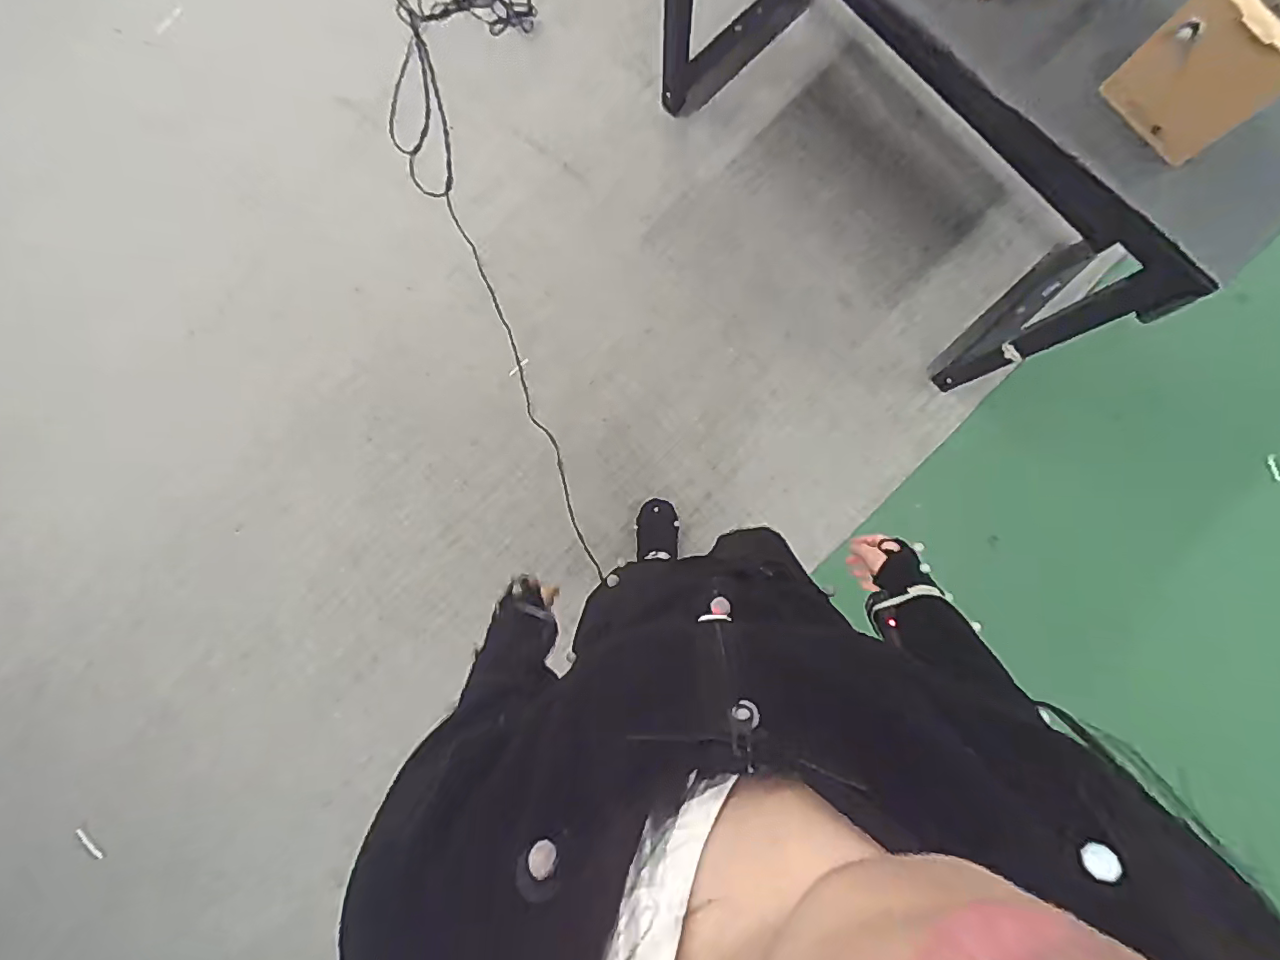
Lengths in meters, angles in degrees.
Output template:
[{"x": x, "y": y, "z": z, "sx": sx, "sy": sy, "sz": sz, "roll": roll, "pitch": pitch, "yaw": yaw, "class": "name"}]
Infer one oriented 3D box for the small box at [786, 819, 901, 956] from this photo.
[{"x": 0.497, "y": 1.000, "z": 1.347, "sx": 0.168, "sy": 0.176, "sz": 0.179, "roll": -44, "pitch": 87, "yaw": -4, "class": "small box"}]
